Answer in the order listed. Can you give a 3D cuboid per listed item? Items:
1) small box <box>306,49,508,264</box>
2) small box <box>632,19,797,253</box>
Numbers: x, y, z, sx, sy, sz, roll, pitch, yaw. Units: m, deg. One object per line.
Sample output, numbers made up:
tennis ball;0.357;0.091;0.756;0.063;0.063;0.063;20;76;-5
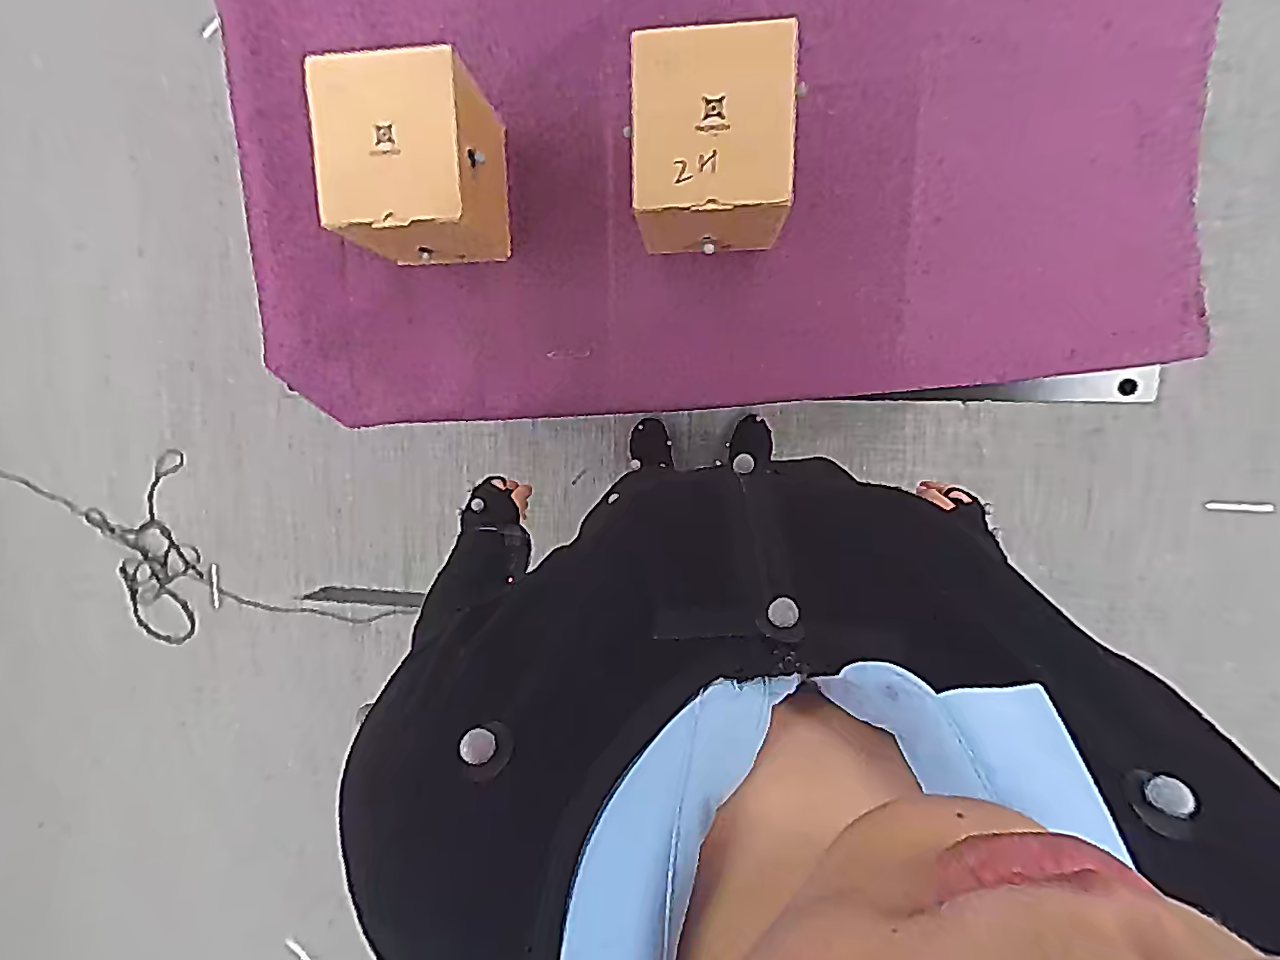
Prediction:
small box;-0.271;-0.380;0.666;0.168;0.176;0.179;-1;99;5
small box;0.081;-0.380;0.628;0.168;0.176;0.179;1;98;7
